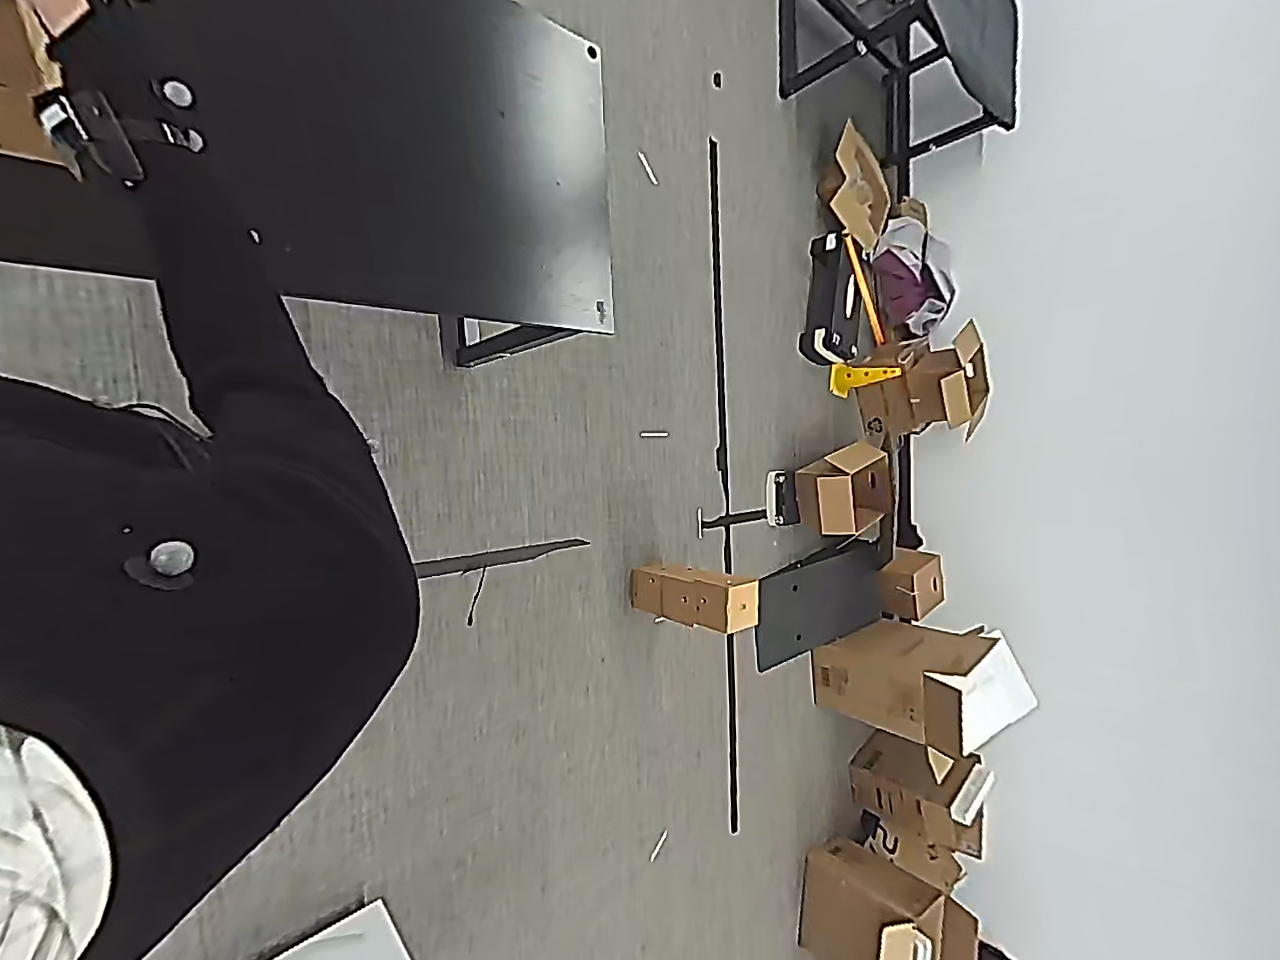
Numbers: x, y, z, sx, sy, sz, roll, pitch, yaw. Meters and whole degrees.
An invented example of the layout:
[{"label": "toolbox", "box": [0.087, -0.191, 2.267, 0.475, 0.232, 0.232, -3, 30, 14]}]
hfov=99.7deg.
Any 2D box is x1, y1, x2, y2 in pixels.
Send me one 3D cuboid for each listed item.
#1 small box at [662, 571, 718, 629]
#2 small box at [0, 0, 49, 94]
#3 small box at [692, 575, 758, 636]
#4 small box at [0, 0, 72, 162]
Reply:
[{"label": "small box", "box": [0.199, 0.457, 2.090, 0.168, 0.176, 0.179, -5, 97, -41]}, {"label": "small box", "box": [-0.577, -0.442, 0.399, 0.168, 0.176, 0.179, -7, 96, -41]}, {"label": "small box", "box": [0.312, 0.452, 1.973, 0.179, 0.176, 0.168, -3, 94, -41]}, {"label": "small box", "box": [-0.687, -0.444, 0.523, 0.168, 0.176, 0.179, -8, 97, -41]}]
